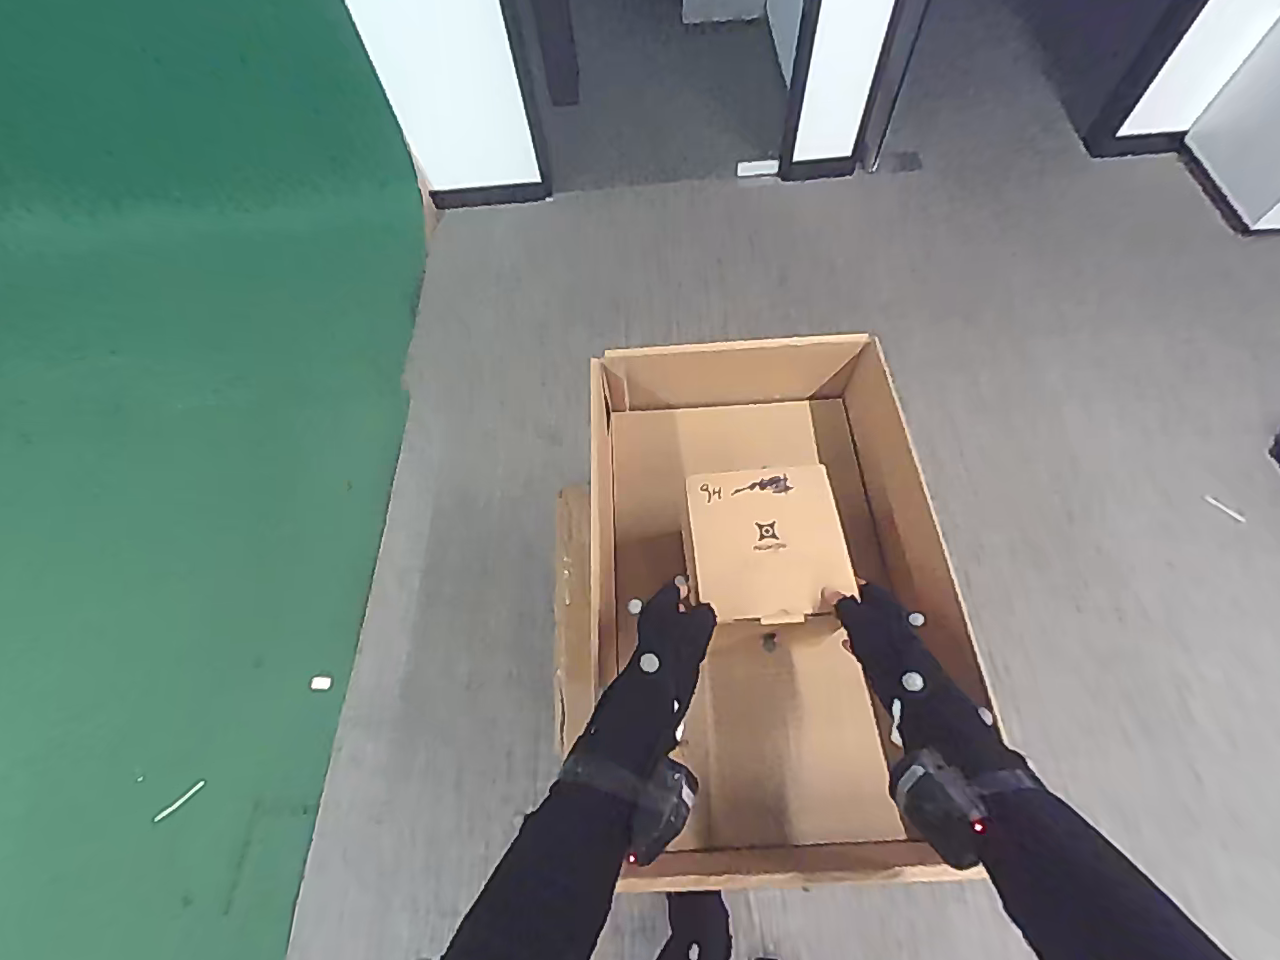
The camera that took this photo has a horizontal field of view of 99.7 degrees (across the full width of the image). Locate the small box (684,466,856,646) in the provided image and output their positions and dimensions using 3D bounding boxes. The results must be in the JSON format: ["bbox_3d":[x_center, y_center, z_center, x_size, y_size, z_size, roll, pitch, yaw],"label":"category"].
[{"bbox_3d":[0.142,0.102,0.660,0.168,0.176,0.179,-4,62,2],"label":"small box"}]
